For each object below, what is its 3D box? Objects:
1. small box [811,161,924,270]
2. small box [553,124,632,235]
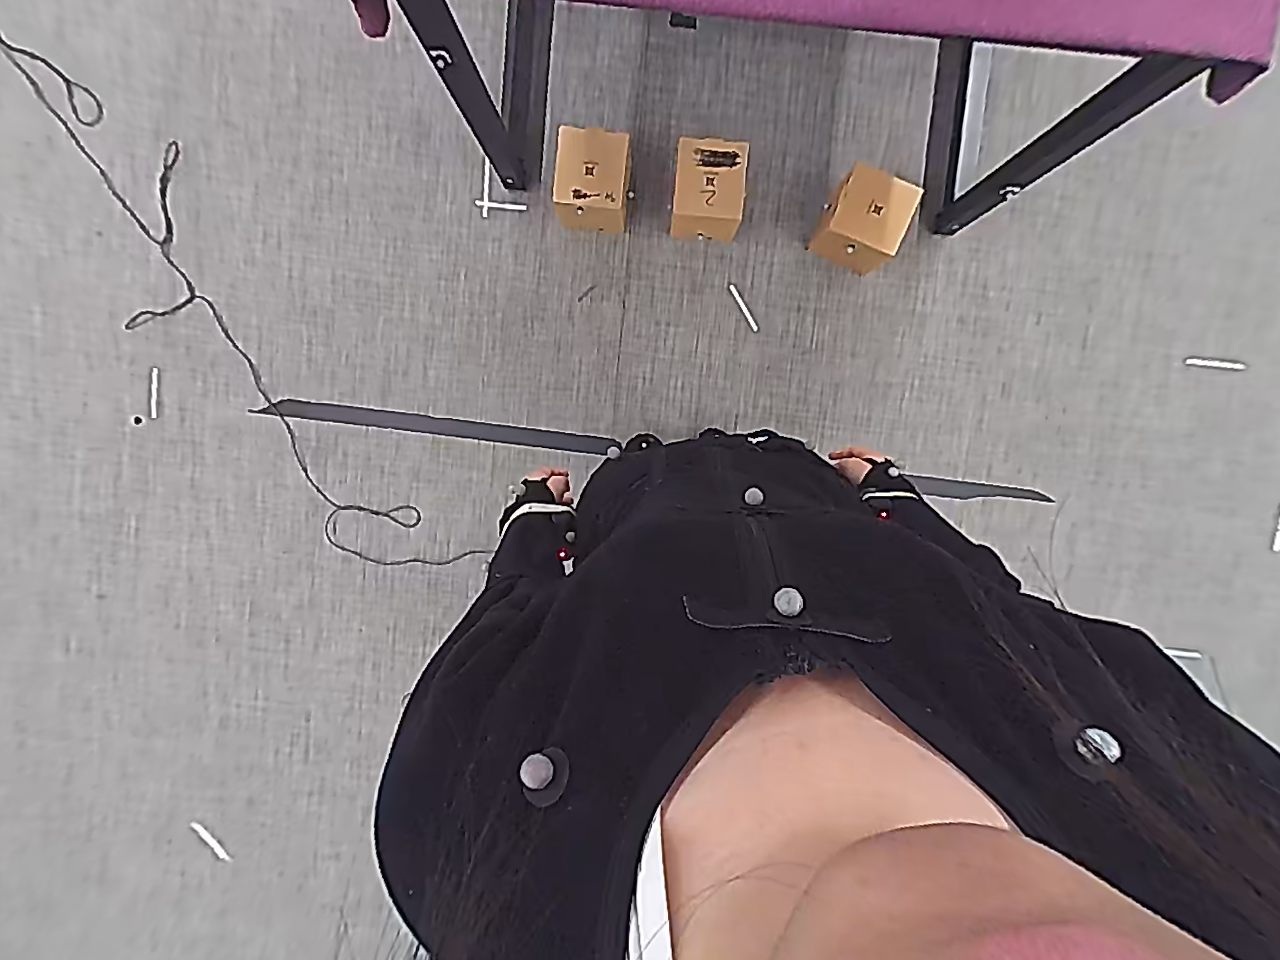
[{"bbox_3d":[0.555,-0.645,1.345,0.179,0.176,0.168,23,96,0],"label":"small box"},{"bbox_3d":[-0.112,-0.738,1.344,0.168,0.176,0.179,8,94,0],"label":"small box"}]
